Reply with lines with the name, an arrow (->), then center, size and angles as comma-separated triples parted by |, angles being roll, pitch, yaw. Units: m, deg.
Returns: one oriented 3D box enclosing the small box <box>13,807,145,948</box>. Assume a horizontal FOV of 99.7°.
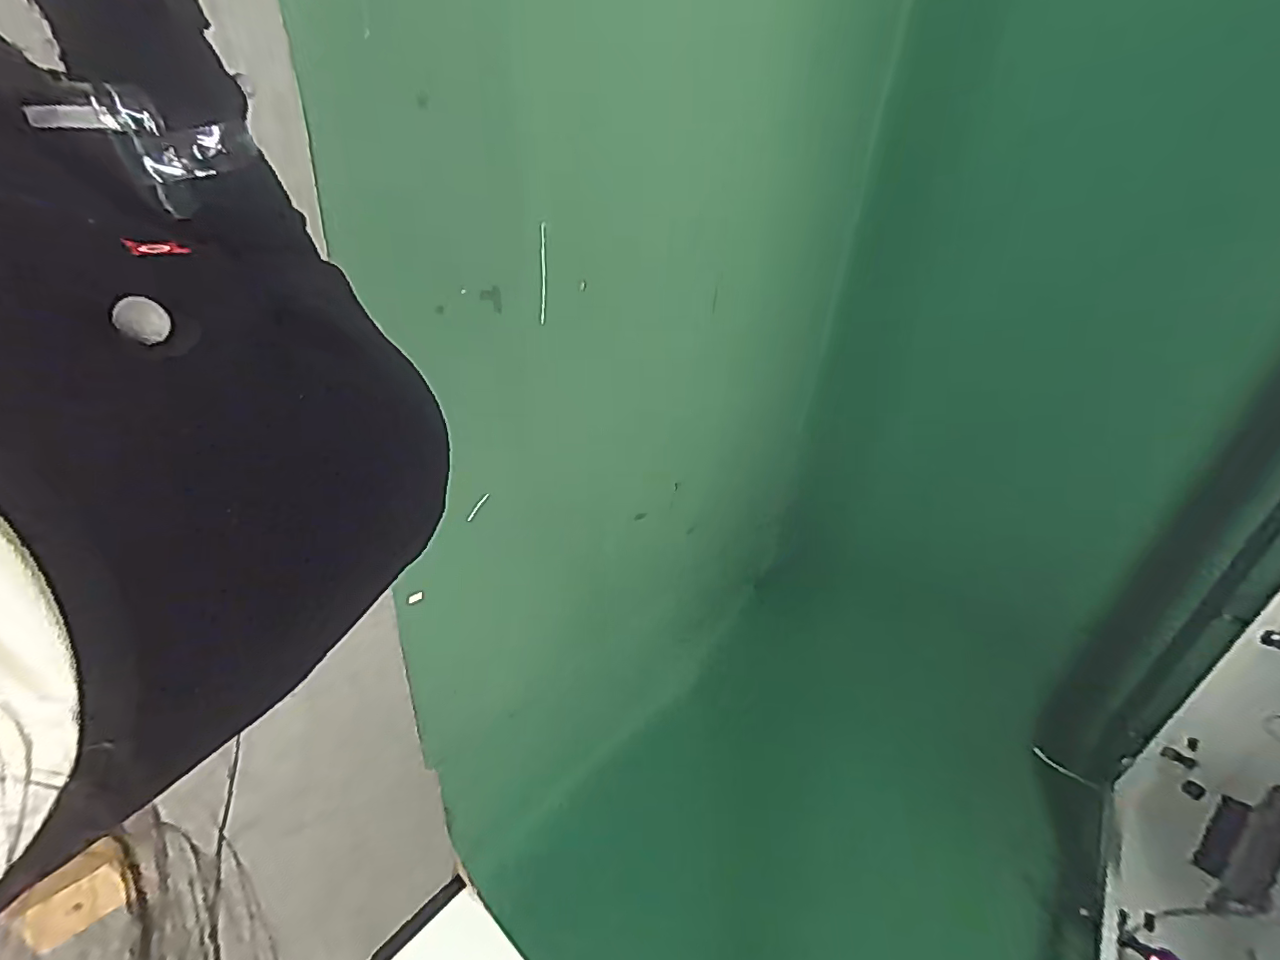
small box -> -1.349, 0.947, 1.300 | 0.179, 0.176, 0.168 | -28, 134, -45
